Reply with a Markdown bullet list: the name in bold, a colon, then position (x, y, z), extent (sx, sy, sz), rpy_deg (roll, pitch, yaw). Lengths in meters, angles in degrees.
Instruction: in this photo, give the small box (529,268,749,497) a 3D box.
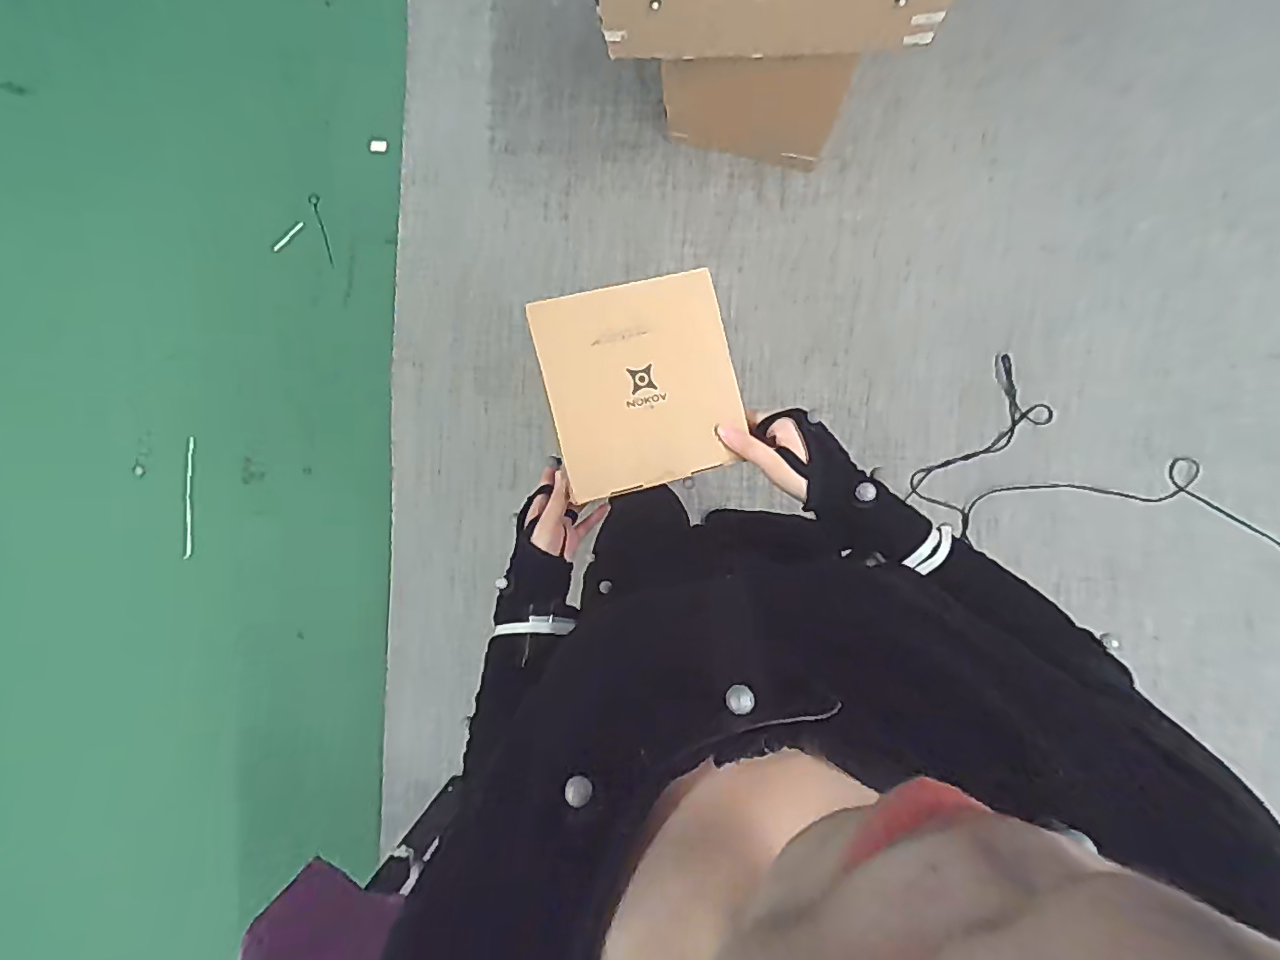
- **small box**: position (-0.010, -0.087, 0.547), extent (0.168, 0.176, 0.179), rpy_deg (-13, 91, -9)
